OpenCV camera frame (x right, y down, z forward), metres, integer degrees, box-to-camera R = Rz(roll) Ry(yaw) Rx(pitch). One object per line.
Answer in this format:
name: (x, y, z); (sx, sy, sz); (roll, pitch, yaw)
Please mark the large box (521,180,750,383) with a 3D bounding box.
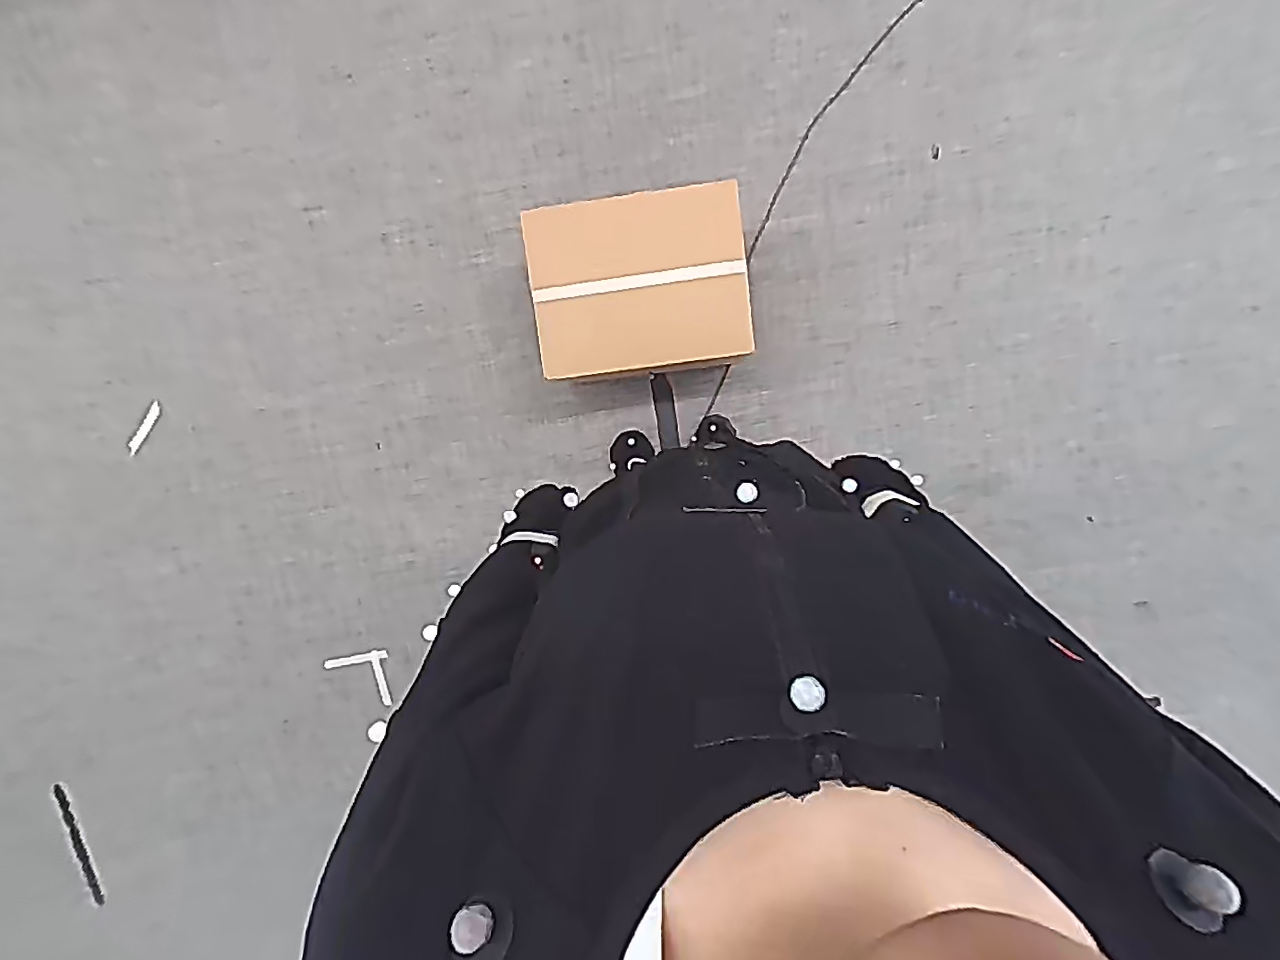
large box: (-0.004, -0.394, 1.162); (0.408, 0.320, 0.320); (-7, 99, 2)
